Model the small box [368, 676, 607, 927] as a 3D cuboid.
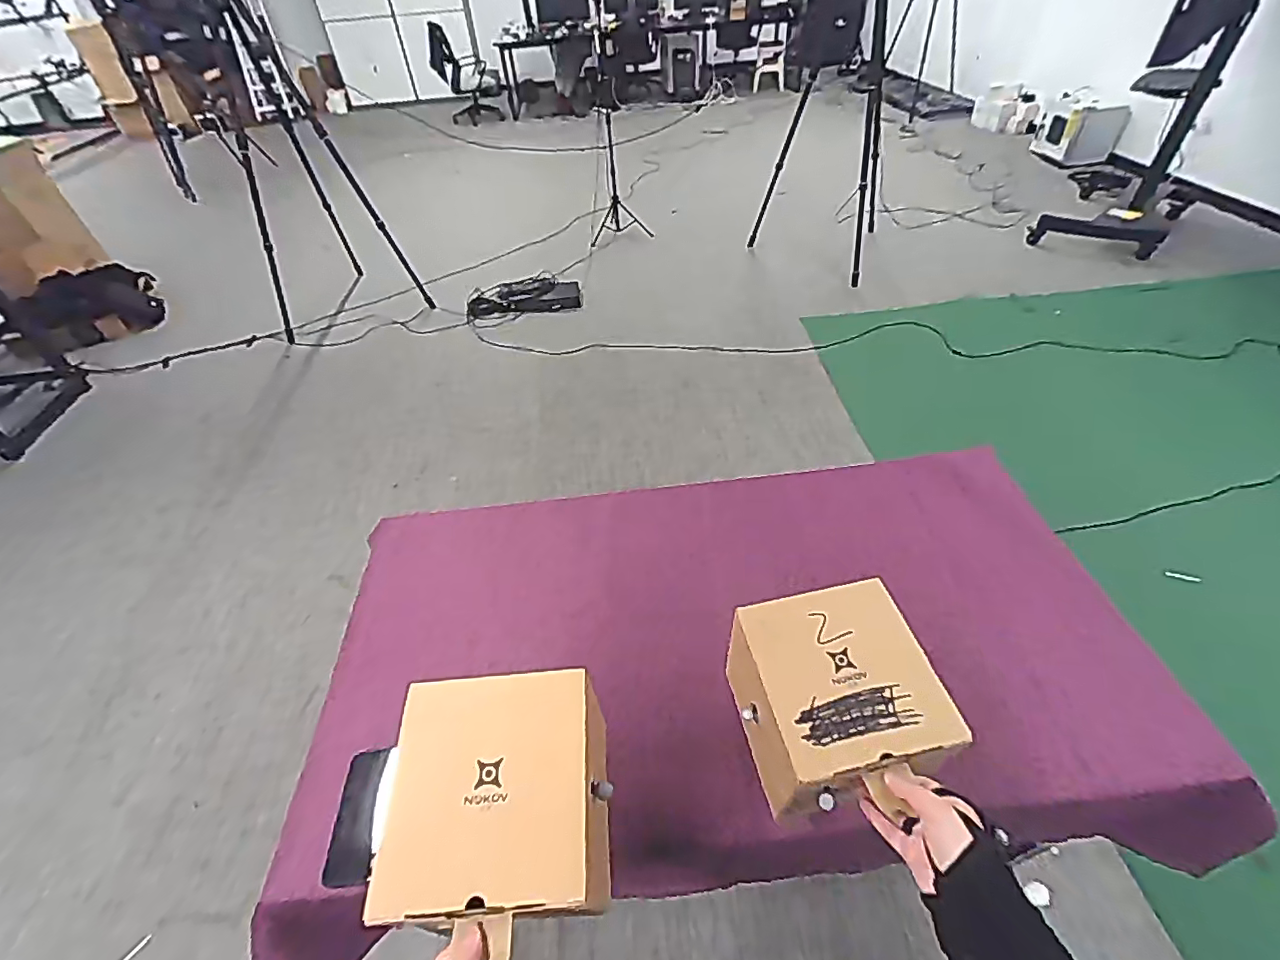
[{"bbox_3d":[-0.122,0.306,0.513,0.168,0.176,0.179,-5,51,0],"label":"small box"}]
